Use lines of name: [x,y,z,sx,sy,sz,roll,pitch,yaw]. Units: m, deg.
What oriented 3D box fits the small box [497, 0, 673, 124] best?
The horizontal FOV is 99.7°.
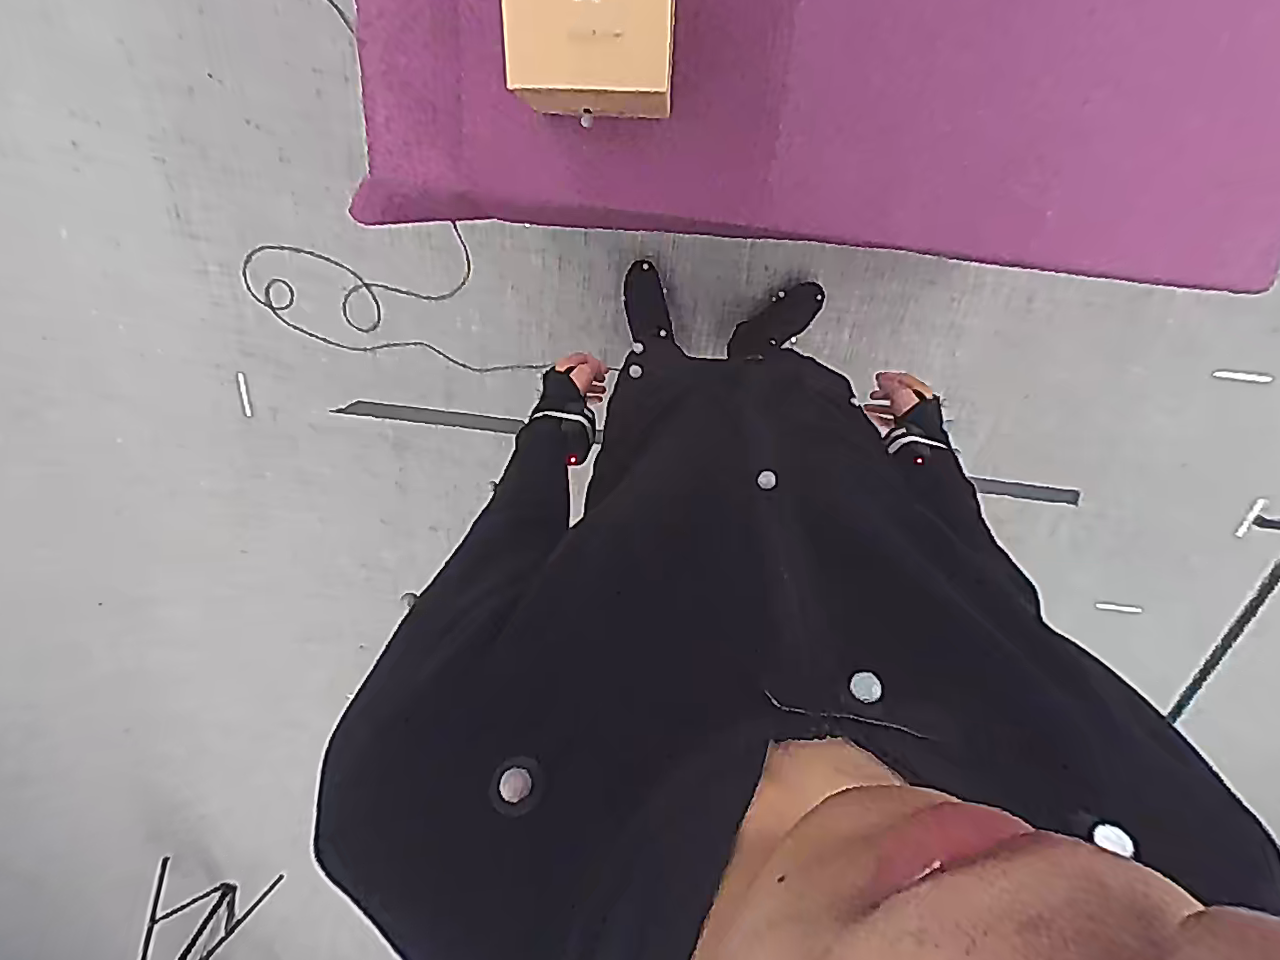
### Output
small box: [-0.050,-0.498,0.572,0.168,0.176,0.179,4,116,2]
